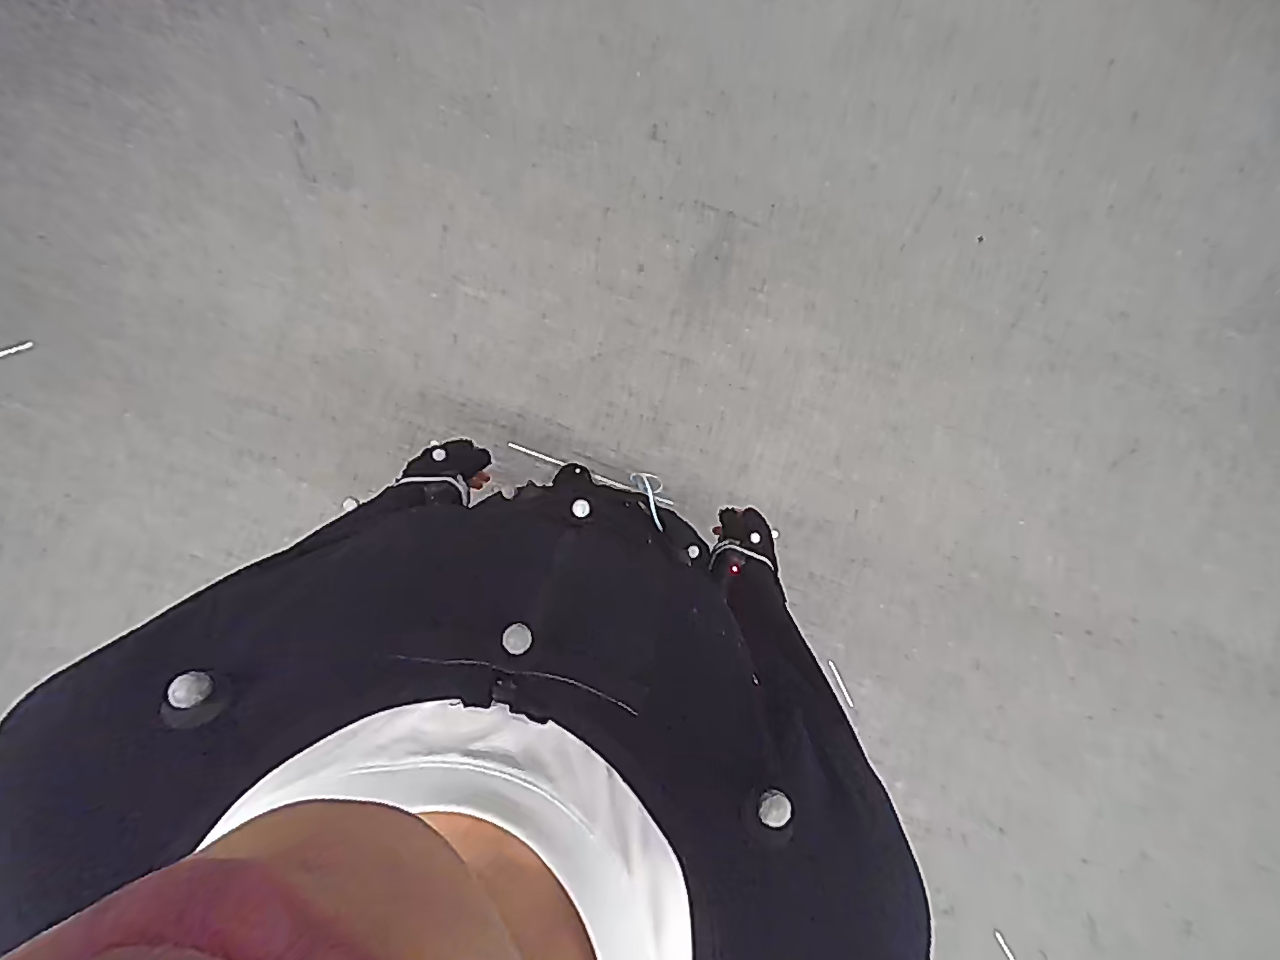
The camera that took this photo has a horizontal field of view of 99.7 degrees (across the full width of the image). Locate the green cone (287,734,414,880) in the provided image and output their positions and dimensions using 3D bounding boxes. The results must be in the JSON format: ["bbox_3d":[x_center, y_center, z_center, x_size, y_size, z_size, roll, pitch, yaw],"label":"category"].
[{"bbox_3d":[-0.724,0.808,1.294,0.202,0.368,0.200,19,90,-3],"label":"green cone"}]
